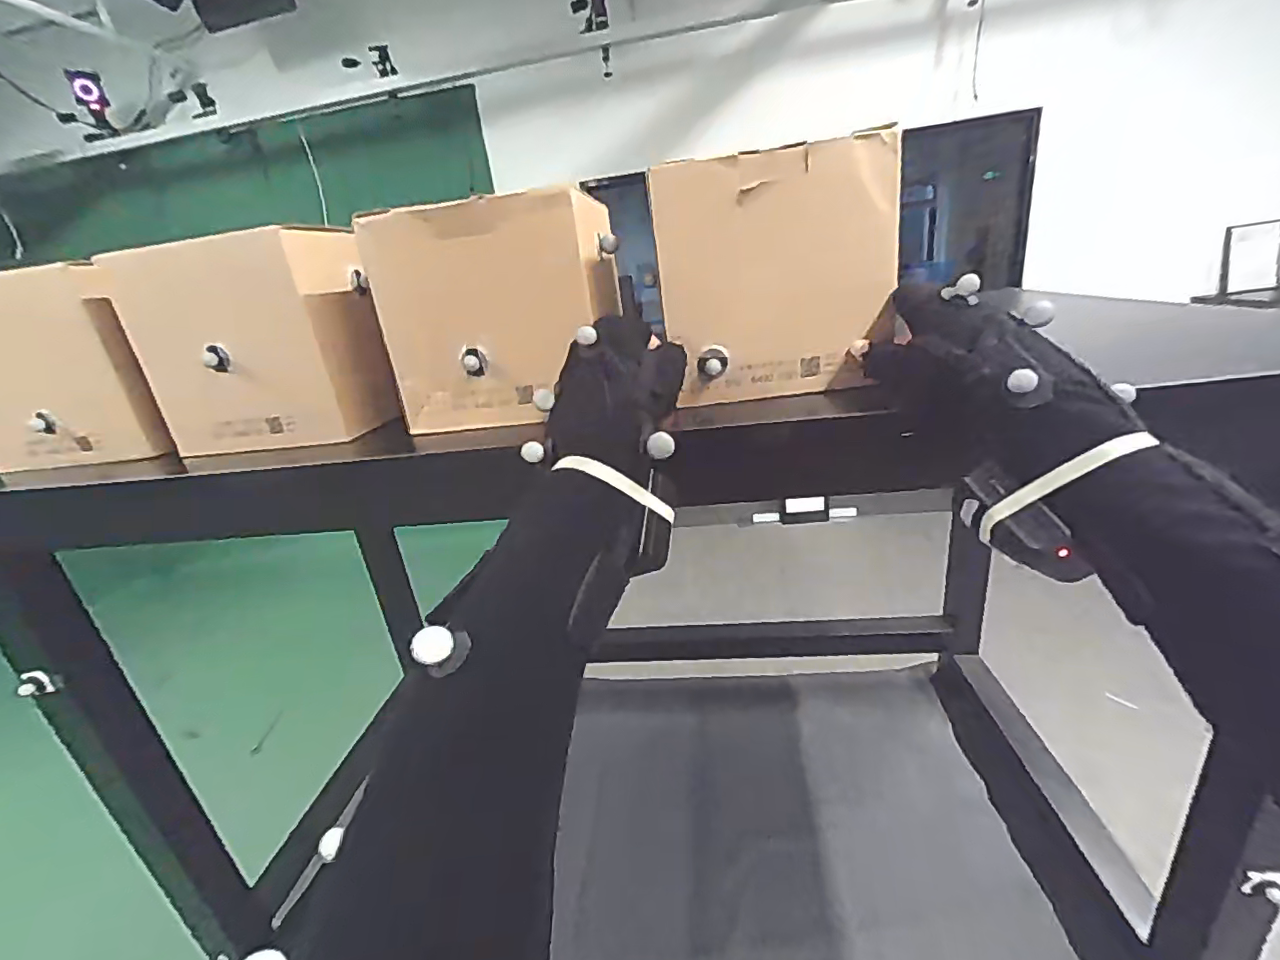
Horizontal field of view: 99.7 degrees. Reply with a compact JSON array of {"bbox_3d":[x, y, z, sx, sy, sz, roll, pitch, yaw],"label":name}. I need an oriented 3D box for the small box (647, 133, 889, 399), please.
[{"bbox_3d":[0.101,-0.170,0.466,0.168,0.176,0.179,-6,20,5],"label":"small box"}]
